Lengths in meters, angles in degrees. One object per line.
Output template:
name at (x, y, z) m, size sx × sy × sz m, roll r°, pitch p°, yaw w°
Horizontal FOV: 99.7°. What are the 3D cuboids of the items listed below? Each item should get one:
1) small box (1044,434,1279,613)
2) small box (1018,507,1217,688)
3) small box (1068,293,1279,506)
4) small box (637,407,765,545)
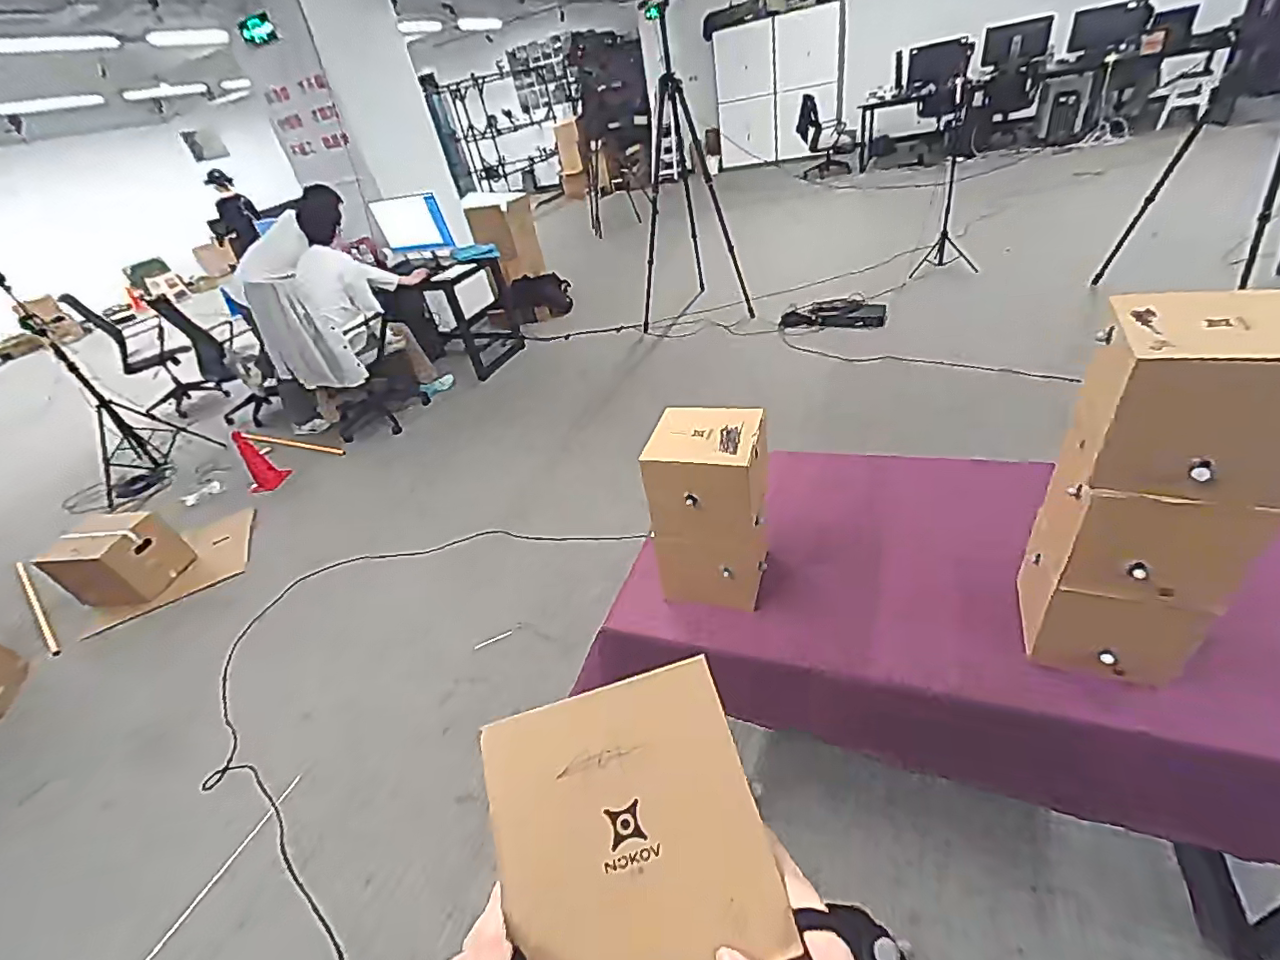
small box at (0.643, 0.037, 0.692) m, size 0.168 × 0.176 × 0.179 m, roll 7°, pitch 41°, yaw 25°
small box at (0.671, 0.166, 0.789) m, size 0.168 × 0.176 × 0.179 m, roll 6°, pitch 41°, yaw 26°
small box at (0.610, -0.091, 0.595) m, size 0.179 × 0.176 × 0.168 m, roll 9°, pitch 41°, yaw 26°
small box at (0.114, -0.007, 0.918) m, size 0.179 × 0.176 × 0.168 m, roll 3°, pitch 39°, yaw 21°
